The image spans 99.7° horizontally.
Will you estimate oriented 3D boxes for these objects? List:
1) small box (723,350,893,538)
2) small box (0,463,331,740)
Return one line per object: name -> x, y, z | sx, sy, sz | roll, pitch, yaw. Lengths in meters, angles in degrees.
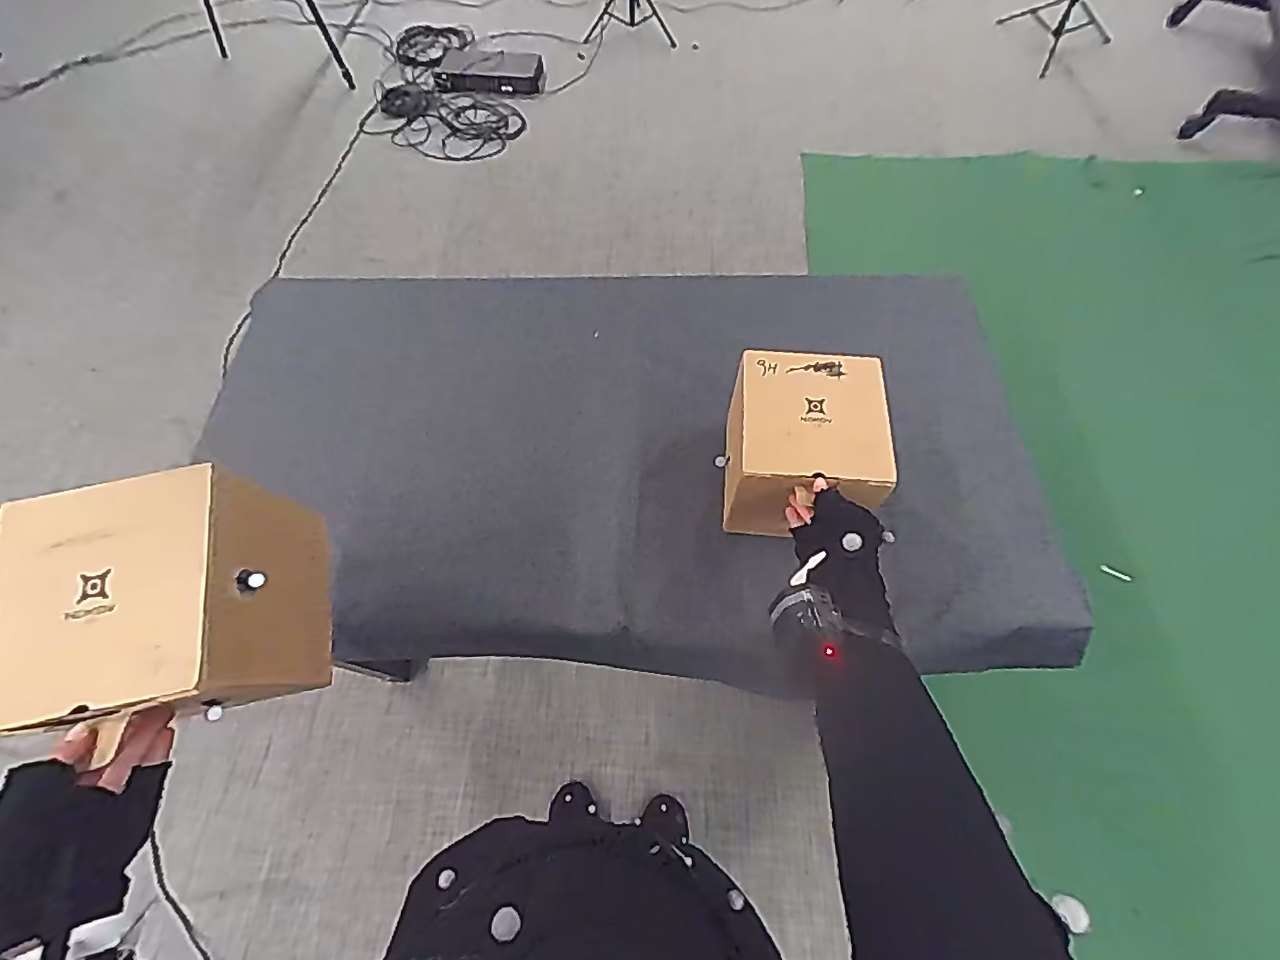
small box -> 0.200, -0.037, 0.686 | 0.168, 0.176, 0.179 | 6, 63, 3
small box -> -0.393, 0.107, 0.468 | 0.168, 0.176, 0.179 | -11, 70, -3
